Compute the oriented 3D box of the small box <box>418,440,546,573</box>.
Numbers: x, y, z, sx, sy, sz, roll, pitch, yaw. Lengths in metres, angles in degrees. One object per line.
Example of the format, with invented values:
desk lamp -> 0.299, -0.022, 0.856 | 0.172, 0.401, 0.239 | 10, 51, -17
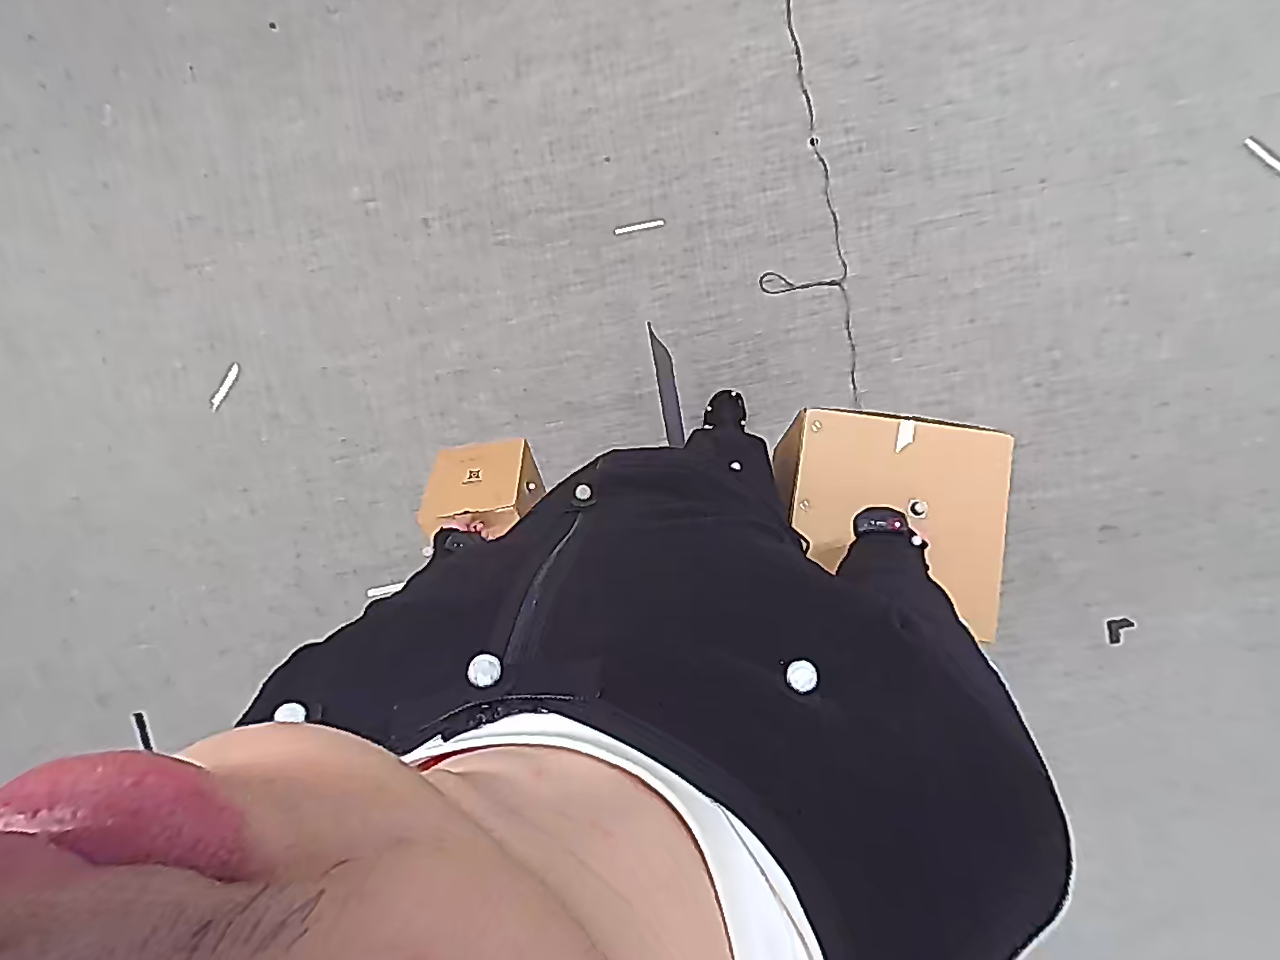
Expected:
small box -> -0.275, 0.055, 0.987 | 0.168, 0.179, 0.176 | -8, 134, 3
